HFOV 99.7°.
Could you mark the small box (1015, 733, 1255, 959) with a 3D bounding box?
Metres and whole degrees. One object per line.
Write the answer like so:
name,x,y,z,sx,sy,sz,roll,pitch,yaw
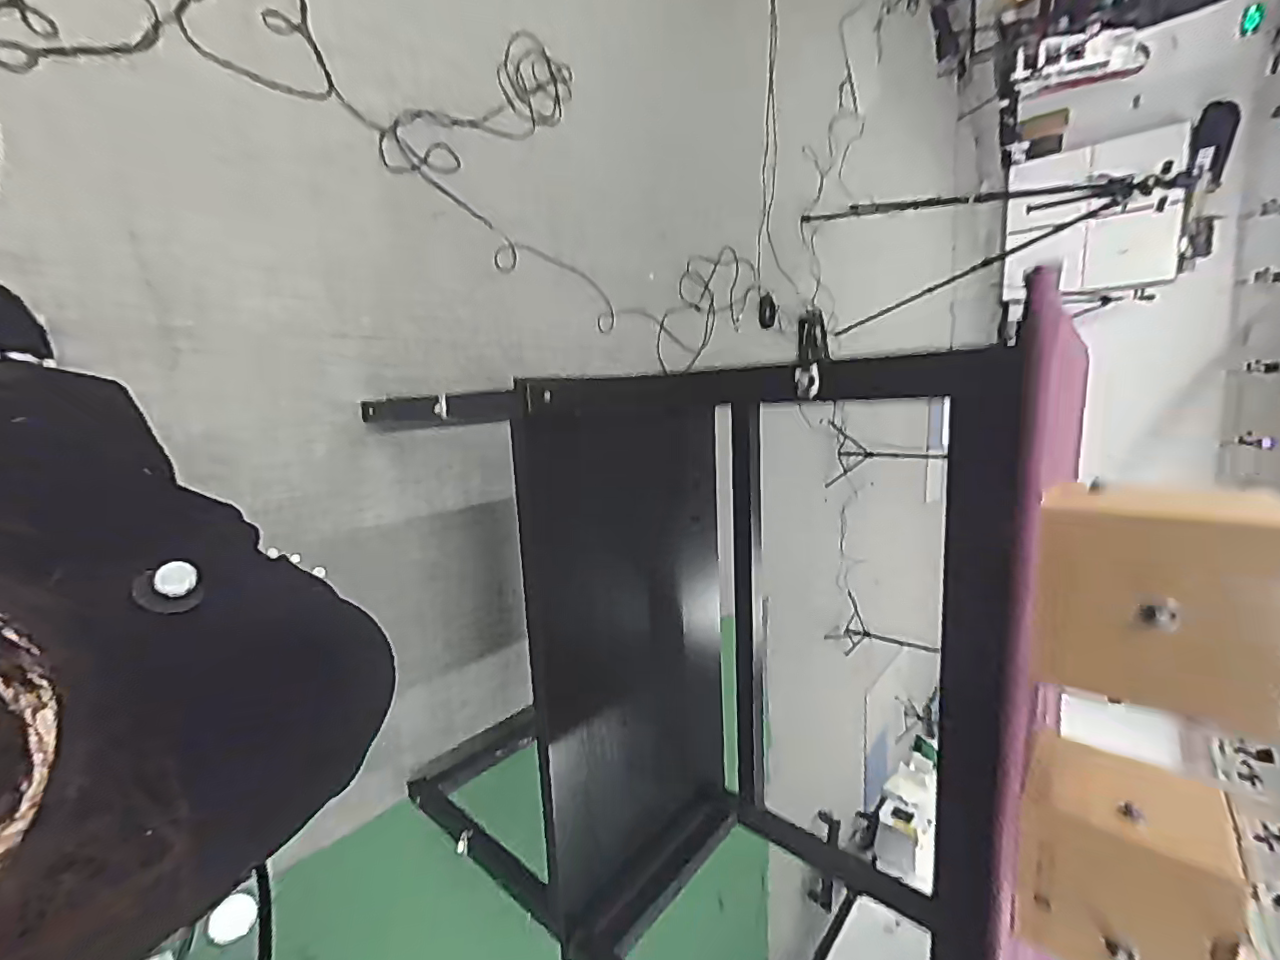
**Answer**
small box,0.522,0.413,0.588,0.179,0.176,0.168,-10,102,-48
